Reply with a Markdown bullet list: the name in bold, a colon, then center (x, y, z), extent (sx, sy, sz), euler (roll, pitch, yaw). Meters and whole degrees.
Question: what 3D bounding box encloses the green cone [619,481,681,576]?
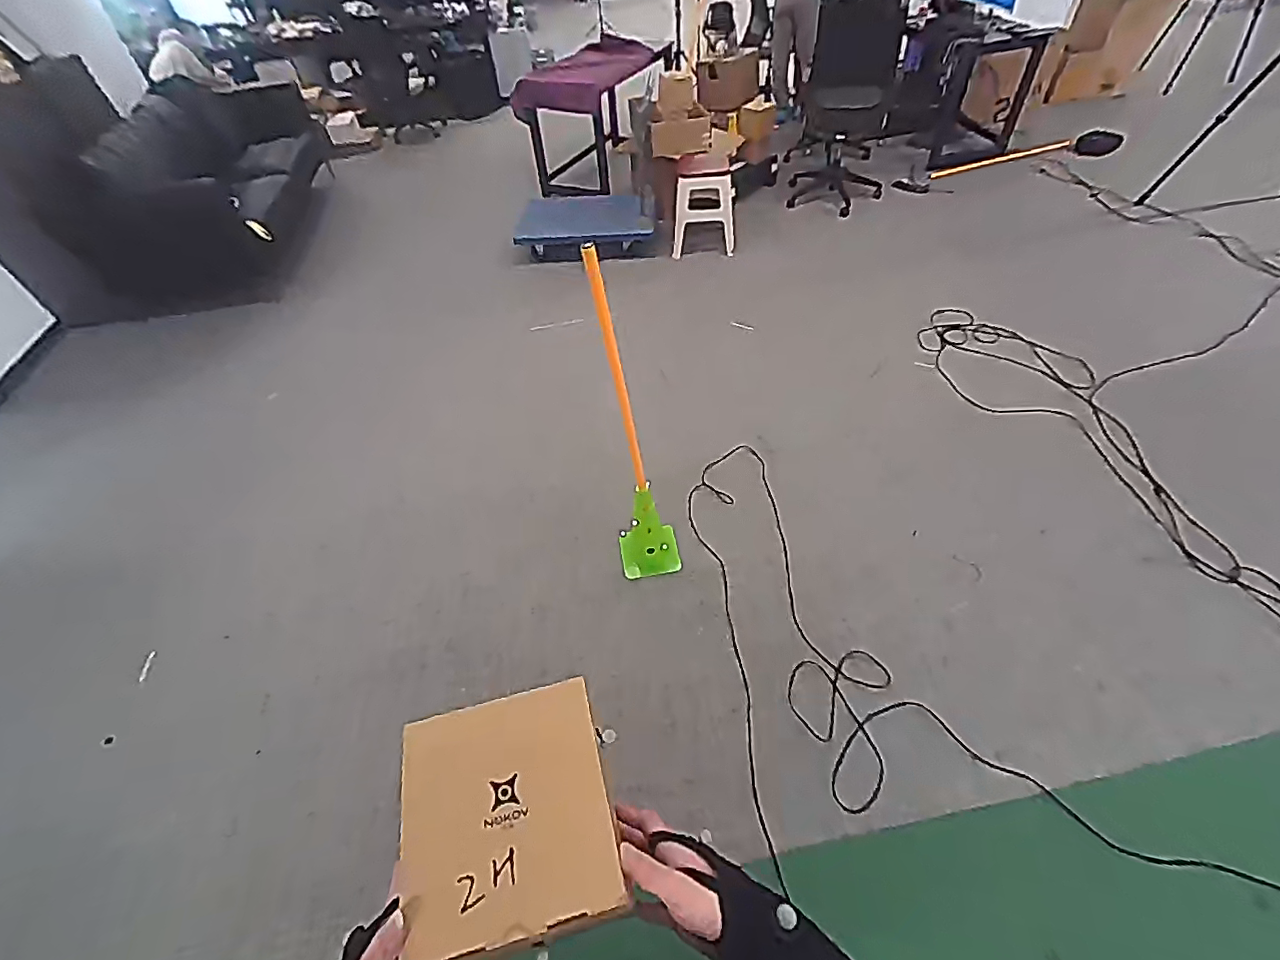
- **green cone**: center (0.024, 0.138, 1.805), extent (0.202, 0.368, 0.200), euler (-9, 49, -4)
